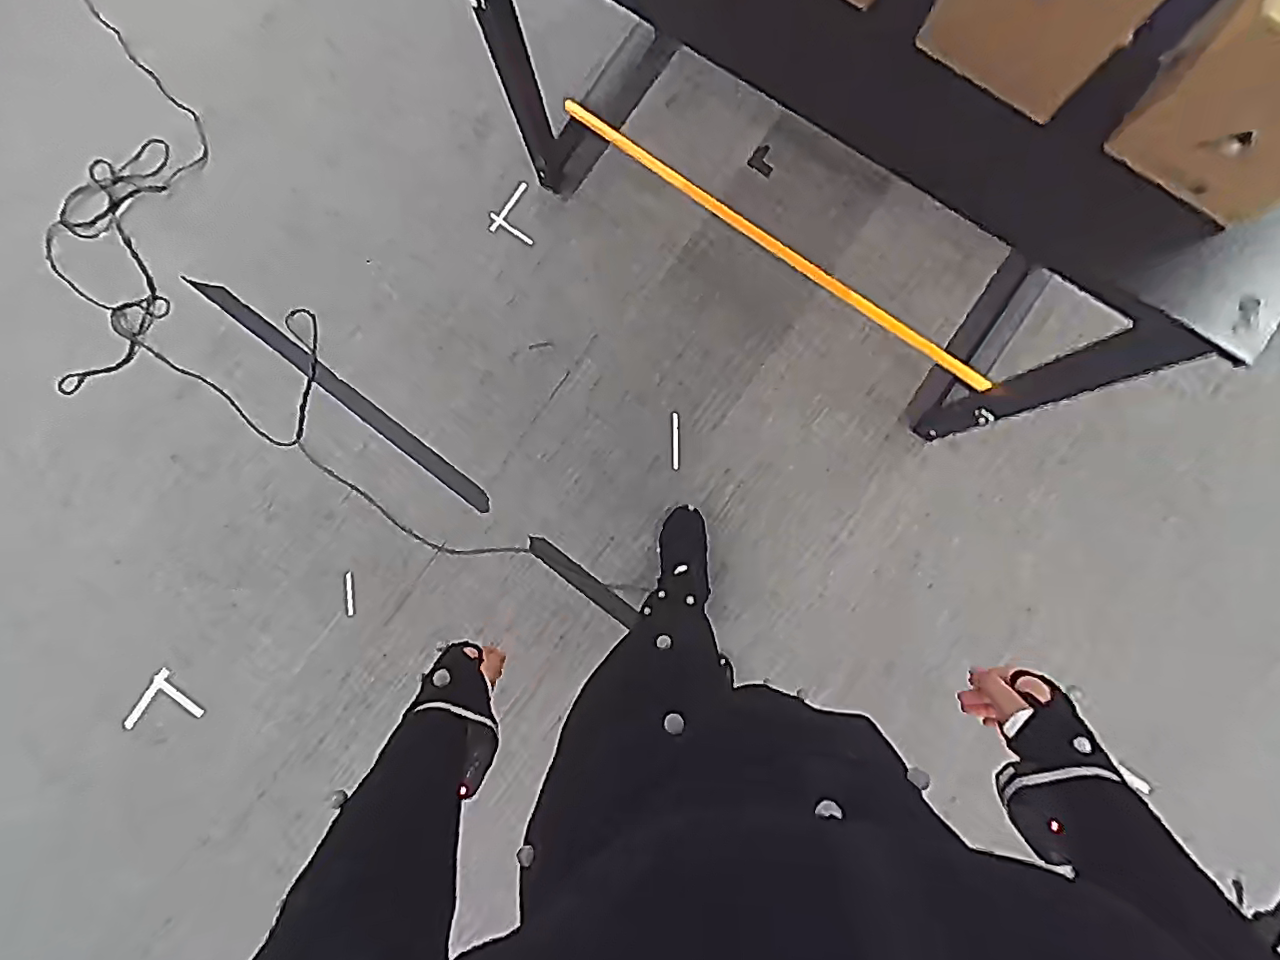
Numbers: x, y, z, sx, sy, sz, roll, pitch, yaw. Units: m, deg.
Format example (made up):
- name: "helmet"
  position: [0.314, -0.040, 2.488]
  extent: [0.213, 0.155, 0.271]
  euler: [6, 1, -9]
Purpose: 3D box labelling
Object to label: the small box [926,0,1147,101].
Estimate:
- name: "small box"
  position: [0.428, -0.531, 0.533]
  extent: [0.179, 0.176, 0.168]
  euler: [36, 89, 4]
